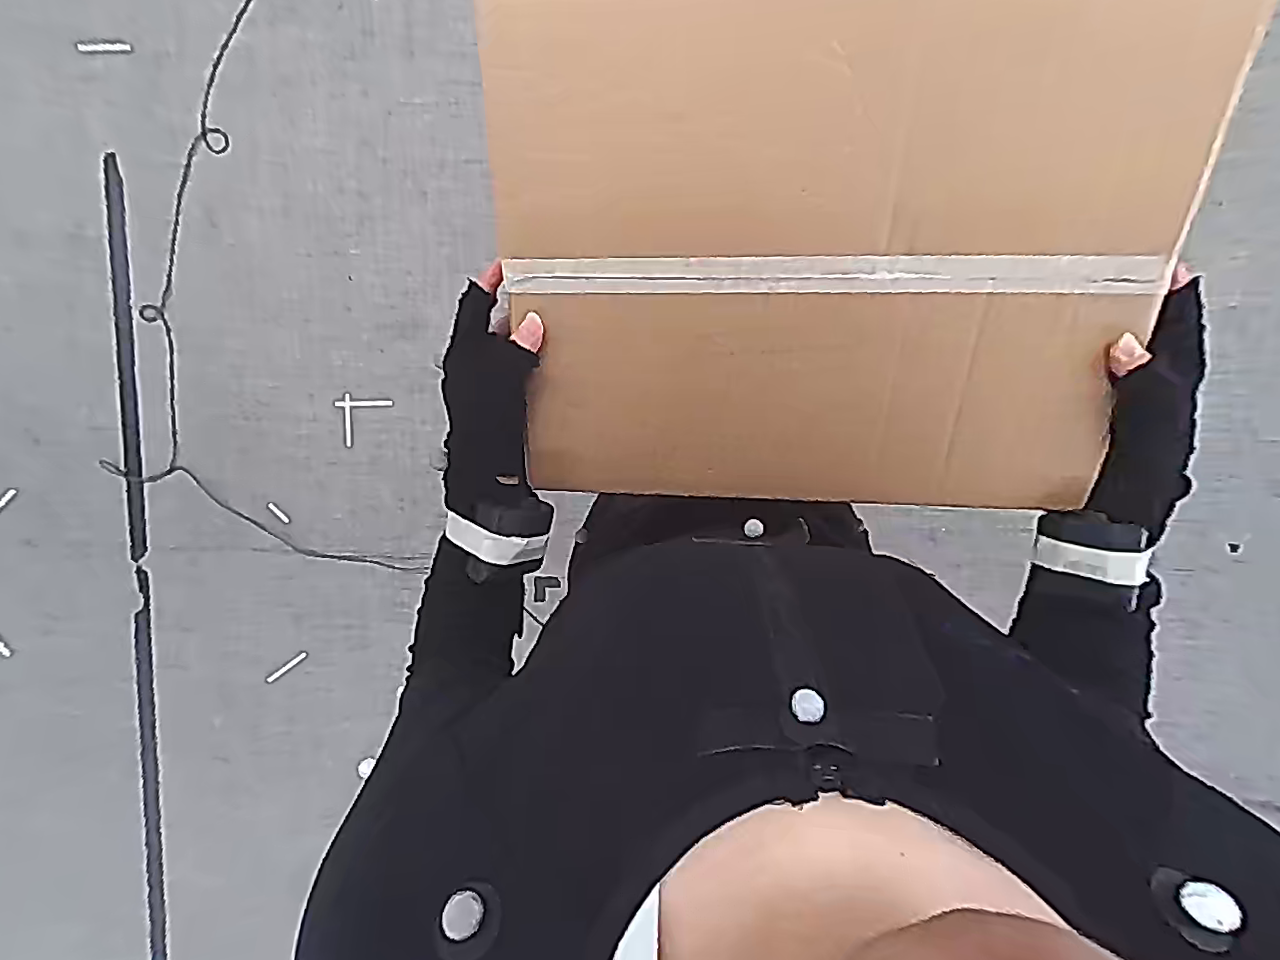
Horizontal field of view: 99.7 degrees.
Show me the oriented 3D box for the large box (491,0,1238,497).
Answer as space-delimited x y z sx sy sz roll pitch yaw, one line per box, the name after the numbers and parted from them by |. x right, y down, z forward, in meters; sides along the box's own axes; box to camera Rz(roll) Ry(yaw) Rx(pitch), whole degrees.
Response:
0.124 -0.191 0.487 0.408 0.320 0.320 2 116 4 | large box
